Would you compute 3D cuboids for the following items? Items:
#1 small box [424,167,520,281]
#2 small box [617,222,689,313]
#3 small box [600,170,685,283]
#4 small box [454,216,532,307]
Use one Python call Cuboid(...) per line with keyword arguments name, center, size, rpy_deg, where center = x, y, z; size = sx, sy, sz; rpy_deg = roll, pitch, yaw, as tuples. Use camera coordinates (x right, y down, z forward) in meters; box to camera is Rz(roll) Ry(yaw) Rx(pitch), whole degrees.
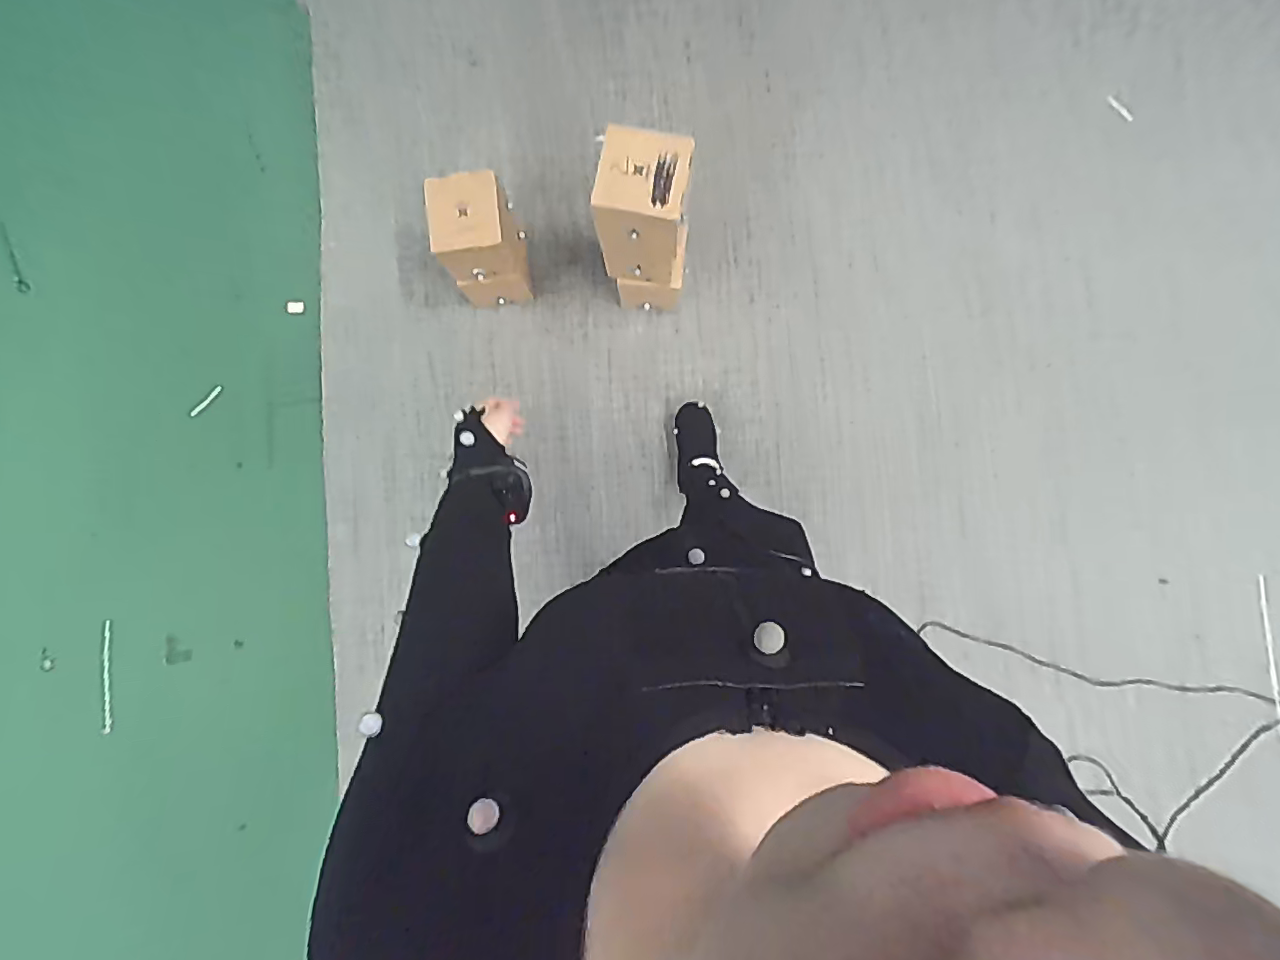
Cuboid(name="small box", center=(-0.393, -0.601, 1.285), size=(0.168, 0.176, 0.179), rpy_deg=(-8, 87, 3))
Cuboid(name="small box", center=(0.034, -0.565, 1.433), size=(0.168, 0.176, 0.179), rpy_deg=(6, 88, 2))
Cuboid(name="small box", center=(0.010, -0.586, 1.271), size=(0.168, 0.176, 0.179), rpy_deg=(10, 88, 3))
Cuboid(name="small box", center=(-0.394, -0.585, 1.446), size=(0.168, 0.176, 0.179), rpy_deg=(-8, 87, 1))
